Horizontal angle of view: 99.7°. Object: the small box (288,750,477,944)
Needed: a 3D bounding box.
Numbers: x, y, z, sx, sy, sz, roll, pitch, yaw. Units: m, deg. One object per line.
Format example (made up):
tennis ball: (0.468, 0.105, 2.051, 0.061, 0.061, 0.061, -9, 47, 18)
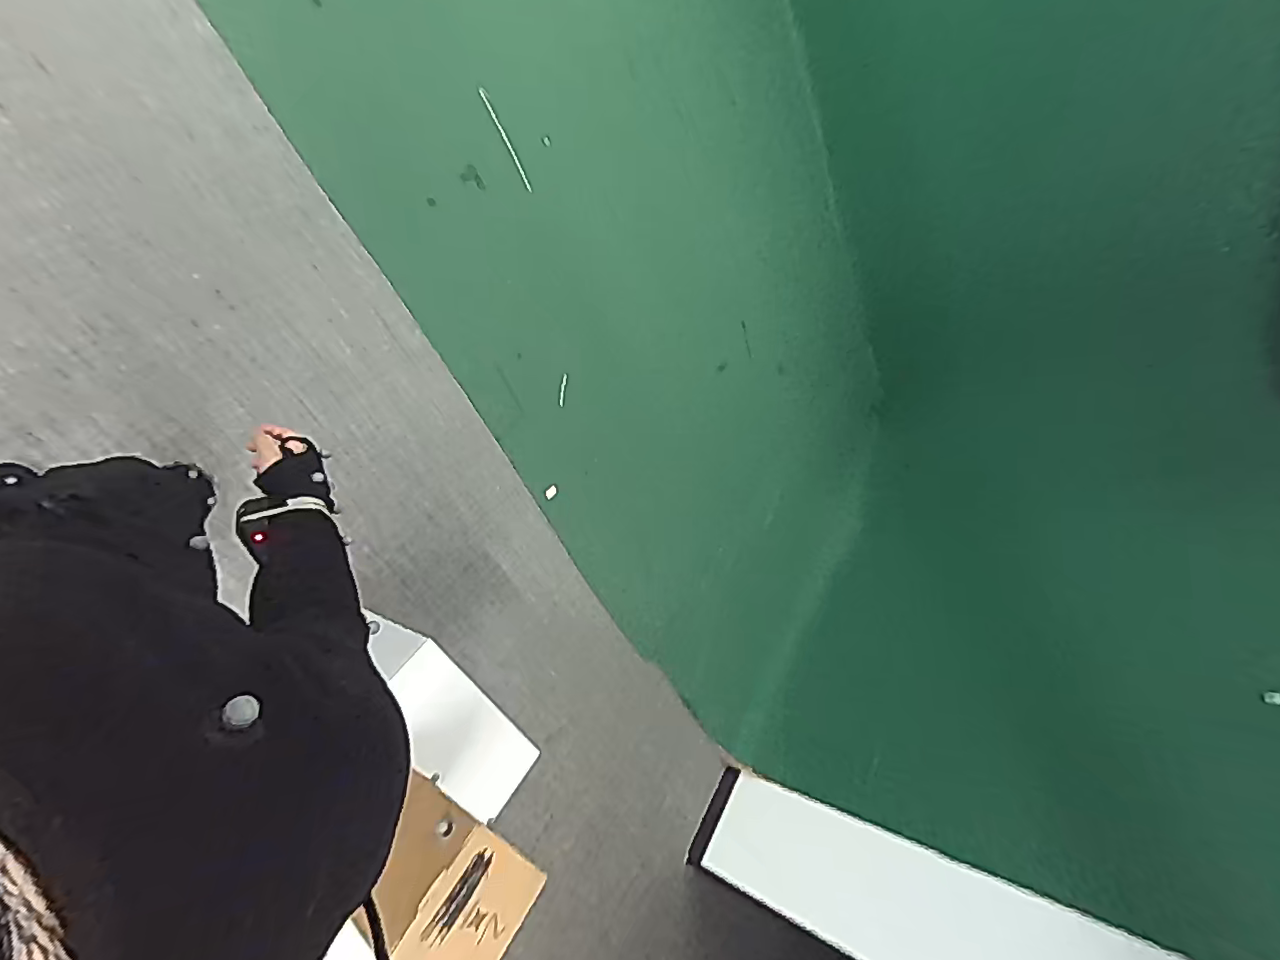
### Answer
small box: (-0.400, 0.559, 0.845, 0.168, 0.176, 0.179, -50, 126, -36)
